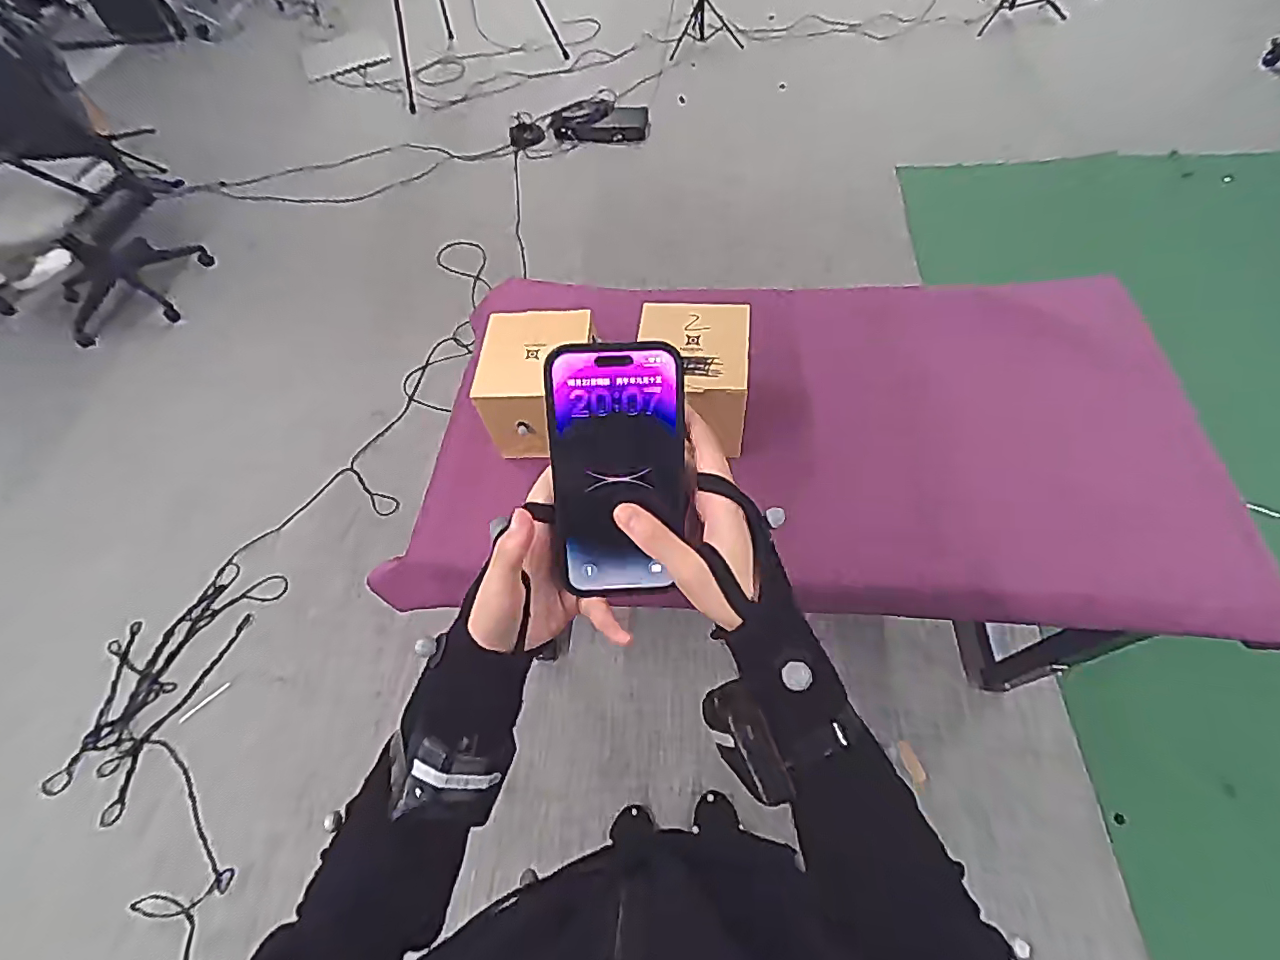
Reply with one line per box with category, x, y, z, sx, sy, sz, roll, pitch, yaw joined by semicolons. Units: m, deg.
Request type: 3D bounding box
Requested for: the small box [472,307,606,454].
small box;-0.151;-0.154;0.880;0.168;0.176;0.179;-1;58;6
